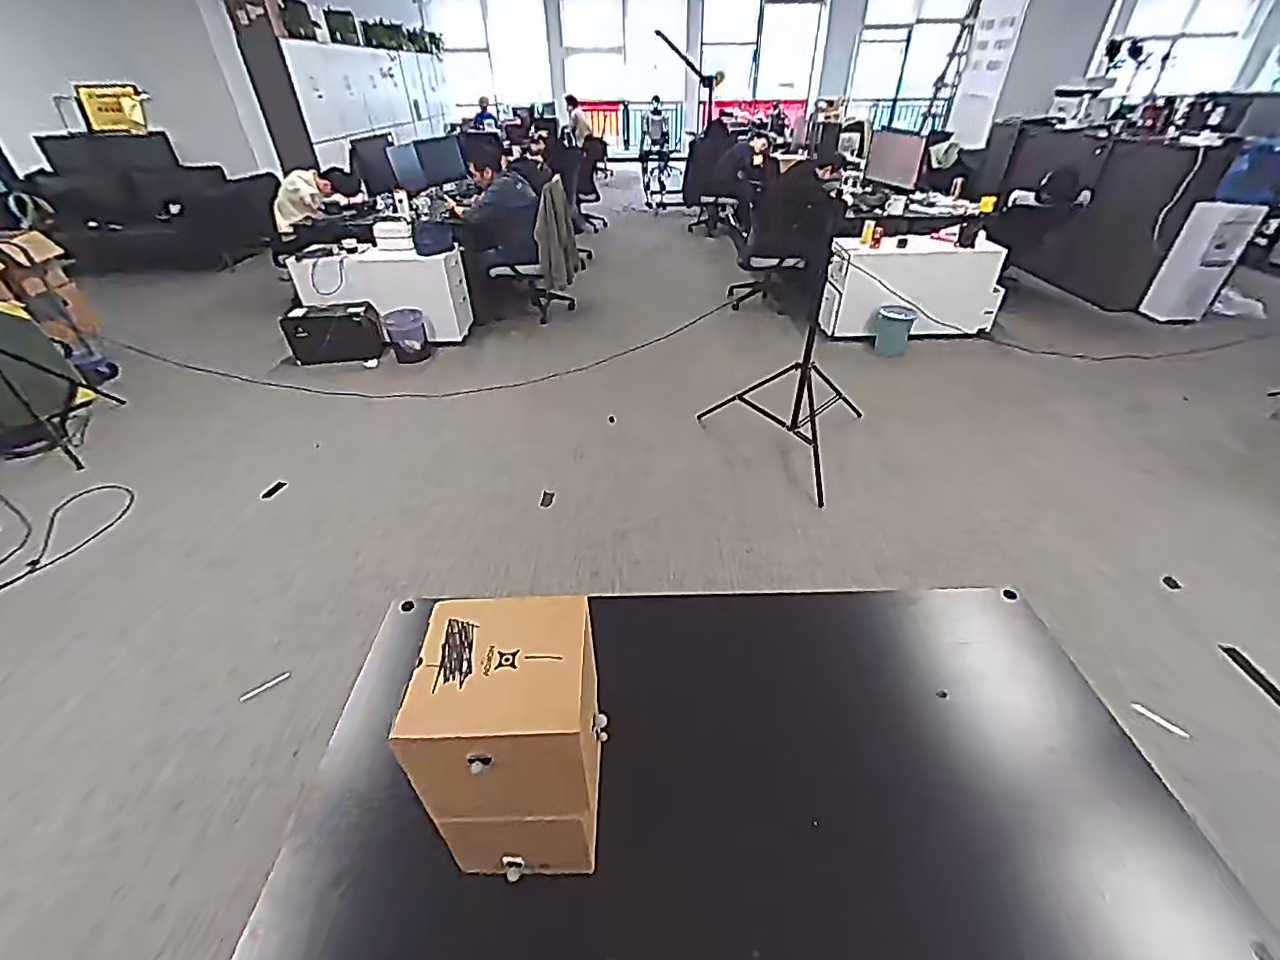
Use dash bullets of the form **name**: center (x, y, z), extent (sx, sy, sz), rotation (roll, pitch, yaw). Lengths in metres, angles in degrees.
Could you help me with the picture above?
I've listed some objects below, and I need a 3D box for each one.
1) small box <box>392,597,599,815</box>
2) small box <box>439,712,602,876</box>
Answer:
- **small box**: center (-0.141, 0.251, 0.604), extent (0.179, 0.176, 0.168), rotation (-2, 36, -1)
- **small box**: center (-0.138, 0.383, 0.703), extent (0.168, 0.176, 0.179), rotation (-2, 37, 0)
